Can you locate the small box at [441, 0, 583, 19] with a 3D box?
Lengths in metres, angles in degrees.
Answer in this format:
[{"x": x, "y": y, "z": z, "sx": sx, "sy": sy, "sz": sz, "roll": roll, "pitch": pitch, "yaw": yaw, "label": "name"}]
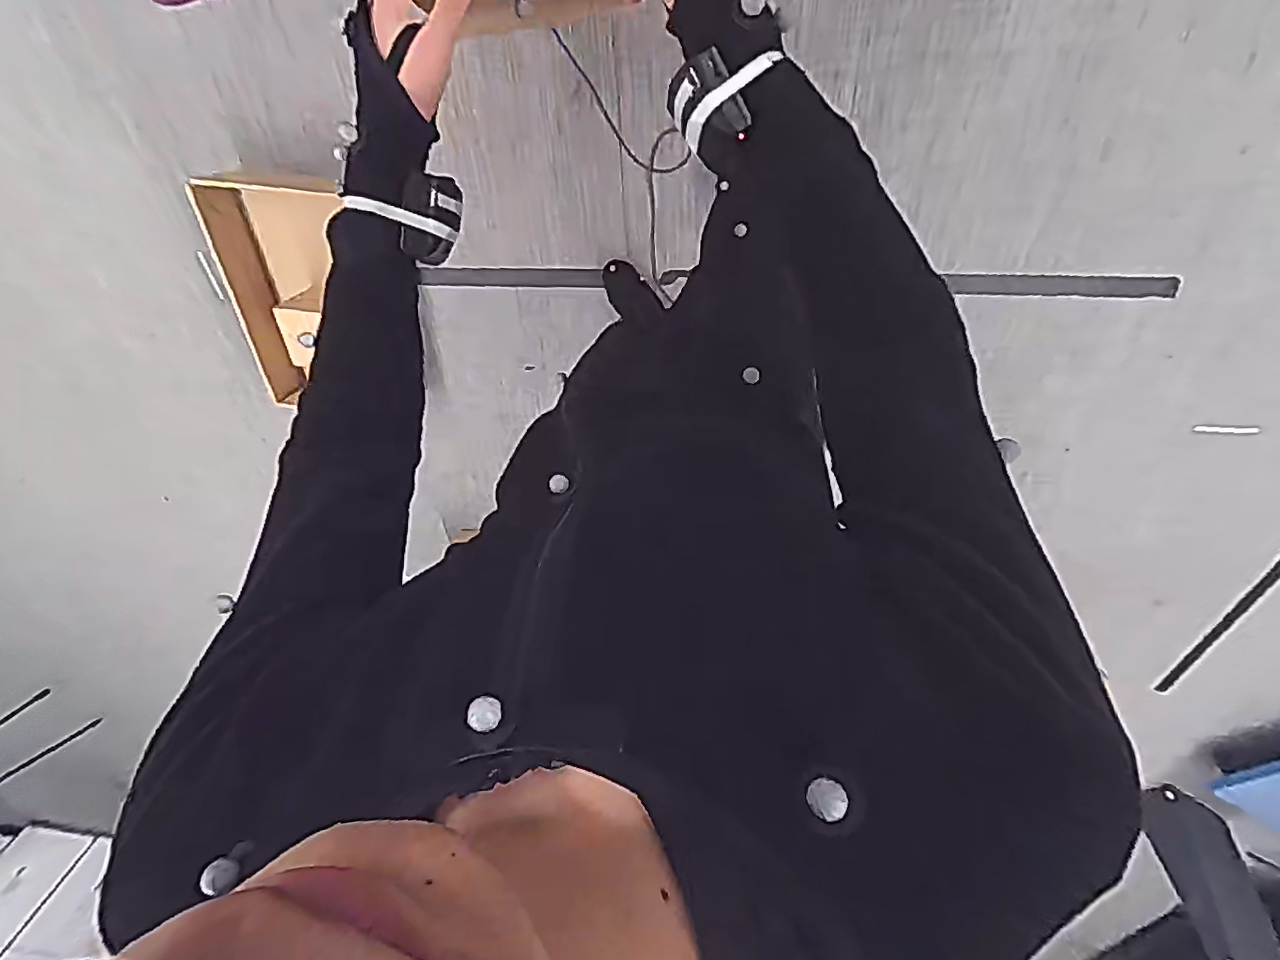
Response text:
[{"x": -0.096, "y": -0.468, "z": 0.395, "sx": 0.179, "sy": 0.176, "sz": 0.168, "roll": -10, "pitch": 122, "yaw": 0, "label": "small box"}]
